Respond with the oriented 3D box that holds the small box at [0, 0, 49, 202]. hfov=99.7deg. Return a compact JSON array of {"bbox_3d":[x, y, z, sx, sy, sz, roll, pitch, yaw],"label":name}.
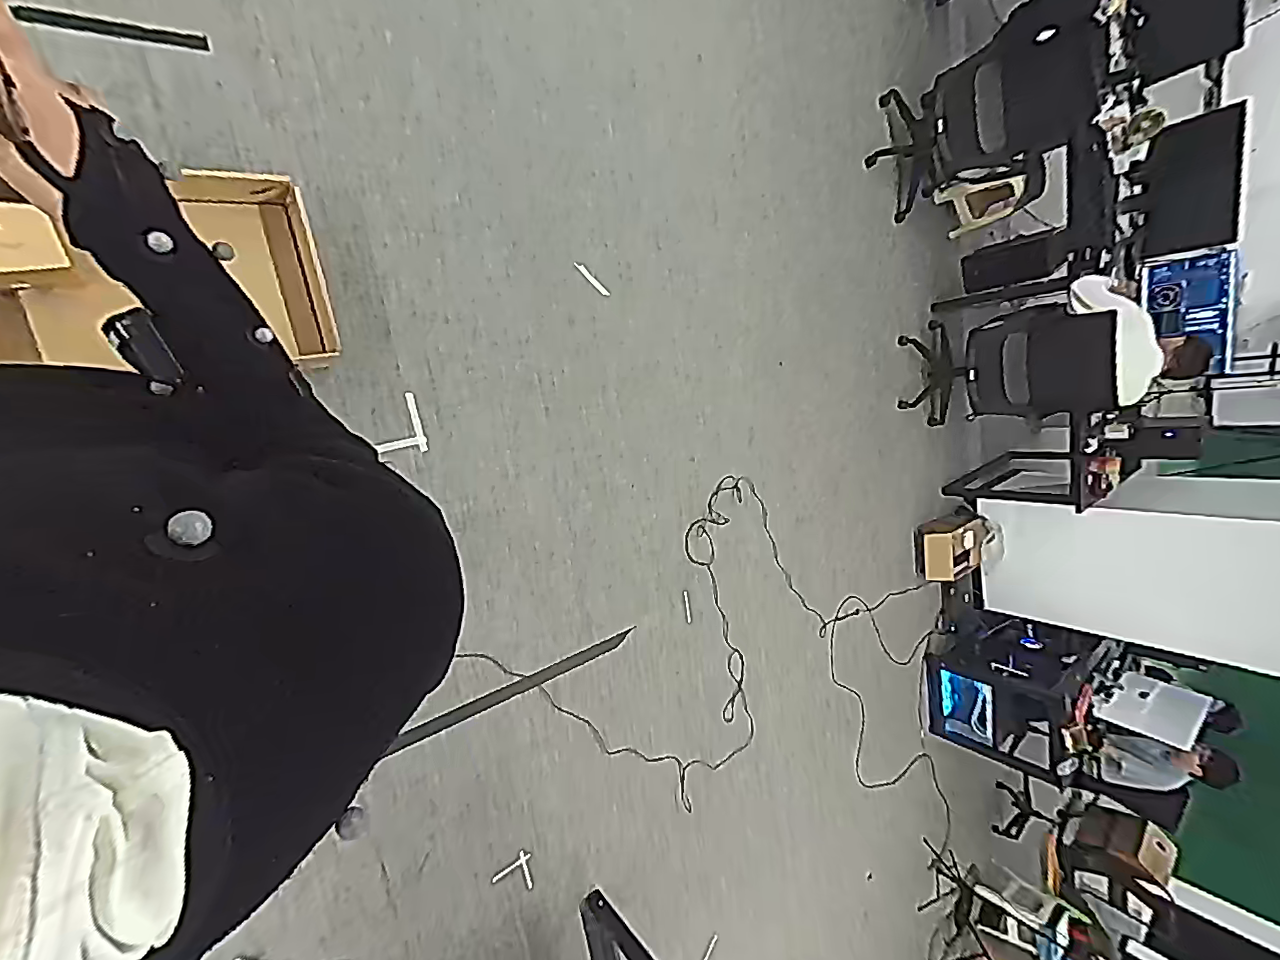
[{"bbox_3d":[-0.564,-0.322,0.377,0.179,0.176,0.168,-12,89,-36],"label":"small box"}]
